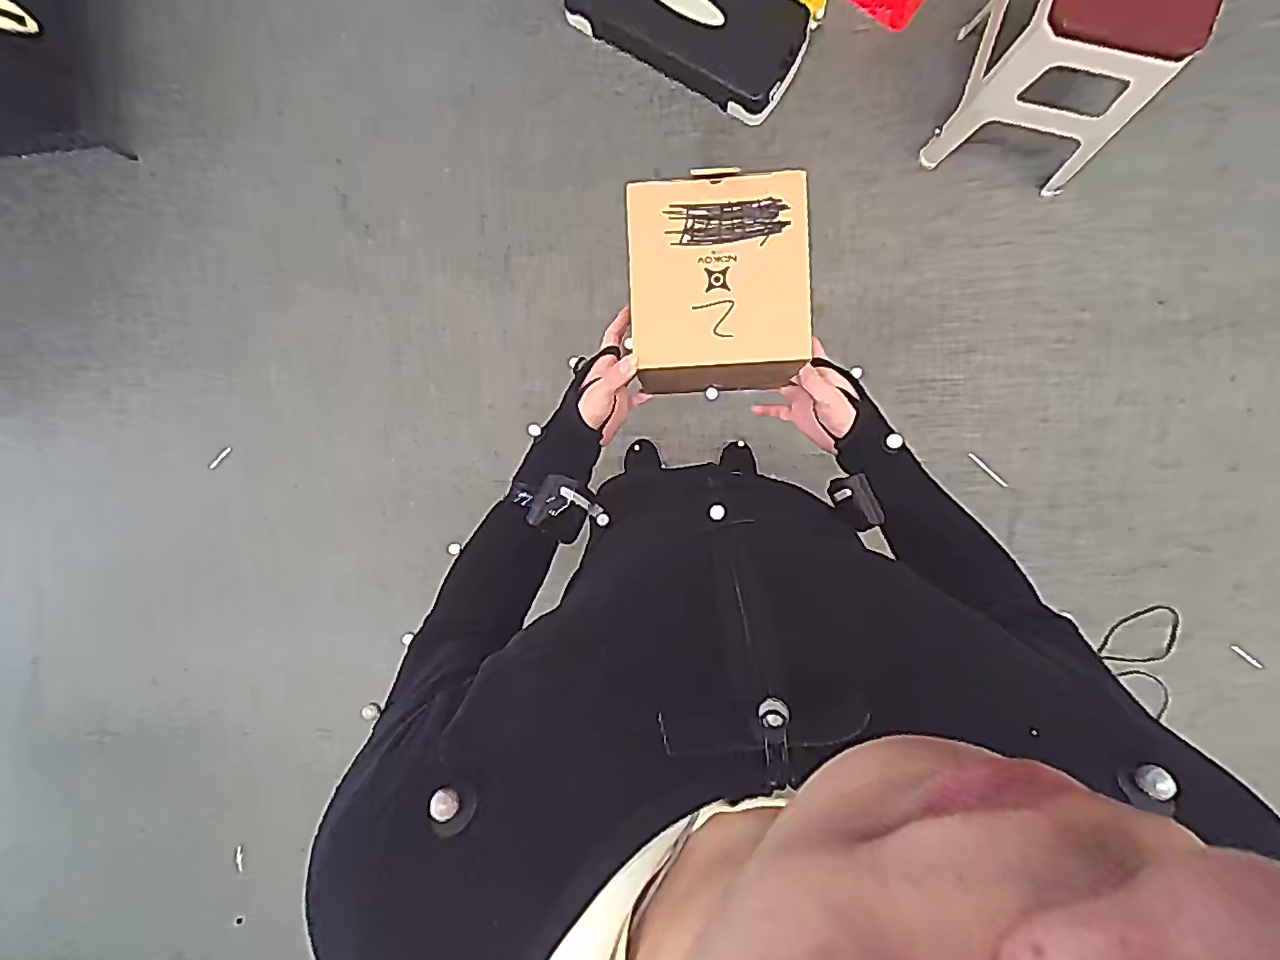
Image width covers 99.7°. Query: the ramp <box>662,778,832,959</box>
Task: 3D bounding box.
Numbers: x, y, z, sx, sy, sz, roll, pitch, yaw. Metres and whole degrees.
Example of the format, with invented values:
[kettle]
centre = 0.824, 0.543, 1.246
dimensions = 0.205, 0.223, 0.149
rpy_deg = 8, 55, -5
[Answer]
[ramp]
centre = 0.319, 1.419, 1.611
dimensions = 0.509, 0.206, 0.991
rpy_deg = -4, 93, 7
